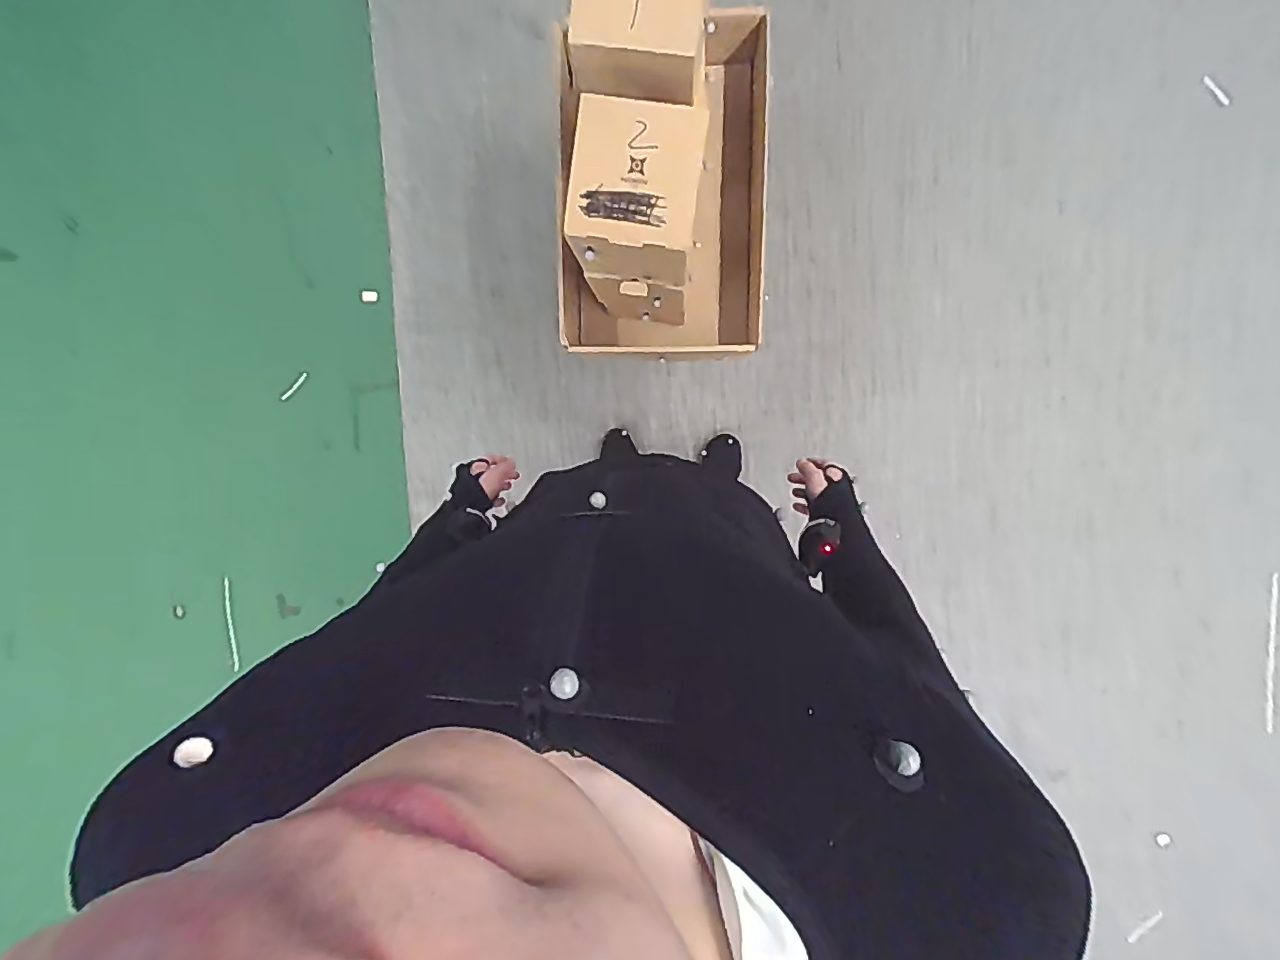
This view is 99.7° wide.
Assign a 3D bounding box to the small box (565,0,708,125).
[{"bbox_3d":[0.003,-0.631,0.741,0.168,0.176,0.179,9,99,3],"label":"small box"}]

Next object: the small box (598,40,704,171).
[{"bbox_3d":[0.020,-0.645,0.904,0.168,0.176,0.179,-1,97,4],"label":"small box"}]

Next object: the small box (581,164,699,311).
[{"bbox_3d":[0.004,-0.401,0.924,0.168,0.176,0.179,9,95,2],"label":"small box"}]
